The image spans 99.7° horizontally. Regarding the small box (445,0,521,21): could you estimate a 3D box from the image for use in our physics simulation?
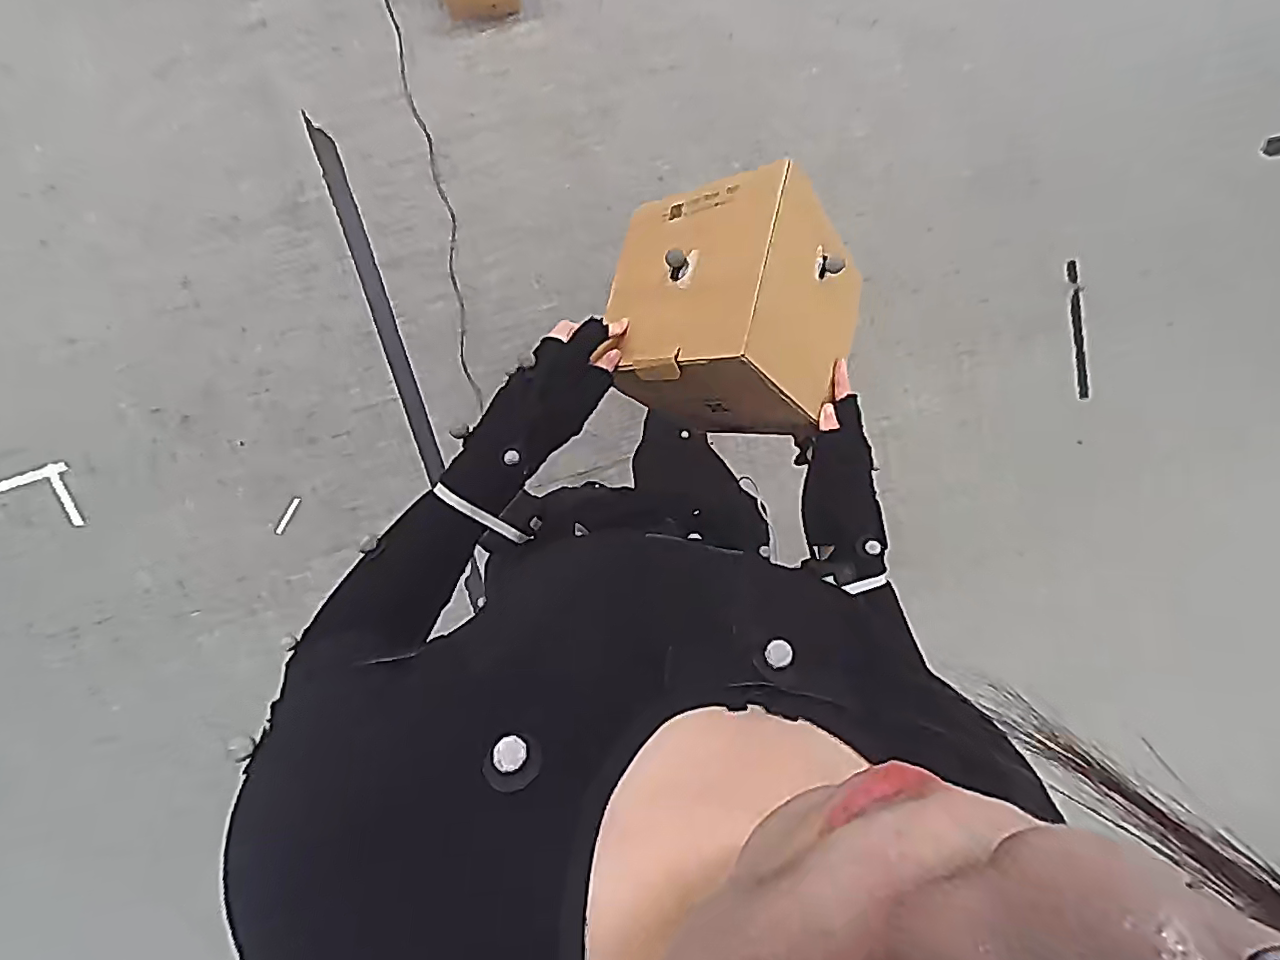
[{"bbox_3d":[-0.362,-1.147,1.180,0.168,0.176,0.179,-10,99,-6],"label":"small box"}]

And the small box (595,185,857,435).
[{"bbox_3d":[0.088,-0.150,0.518,0.179,0.168,0.176,23,78,-47],"label":"small box"}]
